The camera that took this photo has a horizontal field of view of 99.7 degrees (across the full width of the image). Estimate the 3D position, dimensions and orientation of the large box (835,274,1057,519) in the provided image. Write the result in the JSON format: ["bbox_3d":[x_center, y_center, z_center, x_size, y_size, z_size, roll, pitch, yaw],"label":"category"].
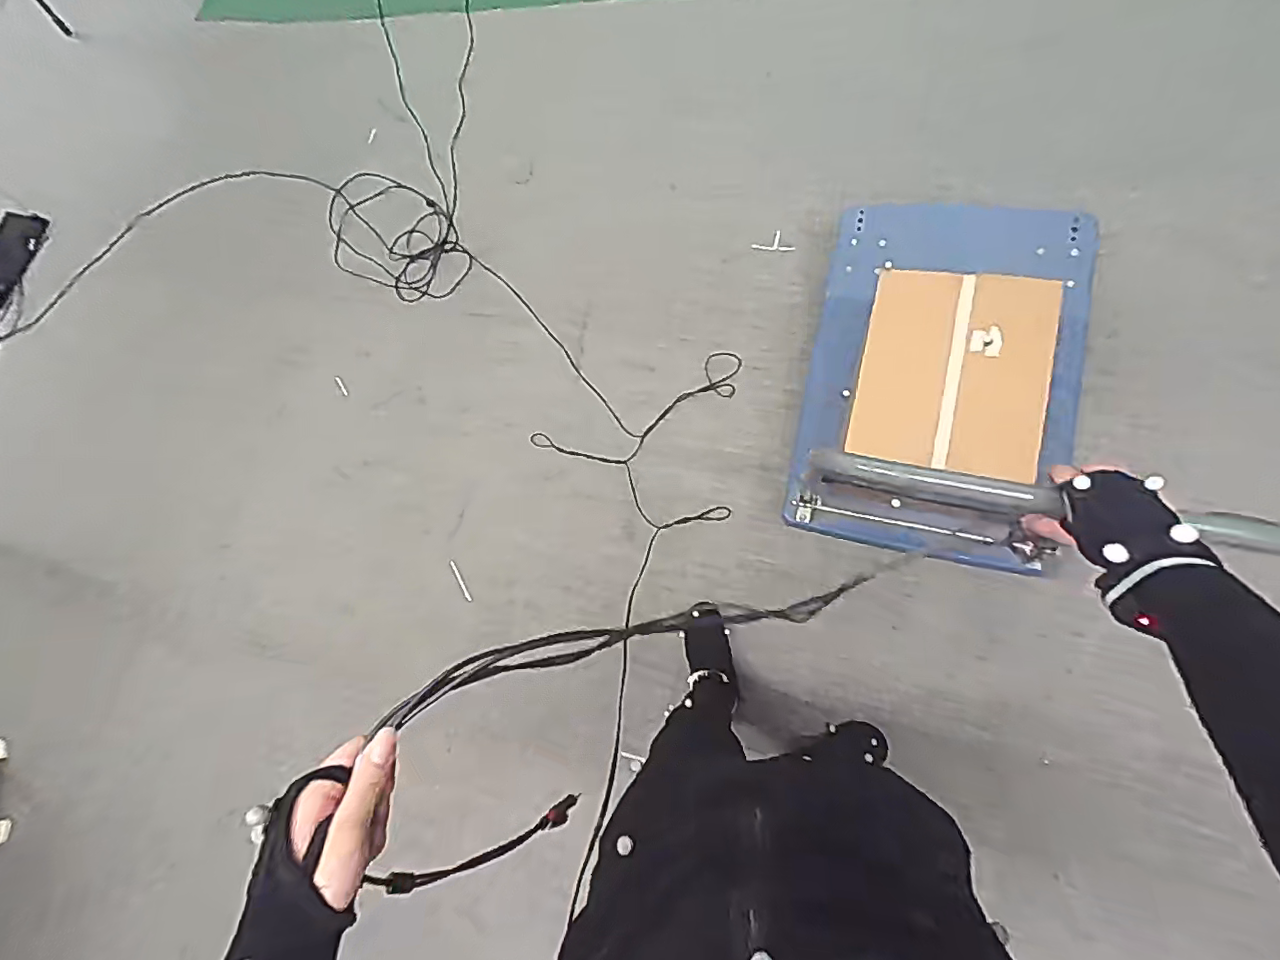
[{"bbox_3d":[0.611,-0.160,1.138,0.320,0.320,0.408,12,80,17],"label":"large box"}]
